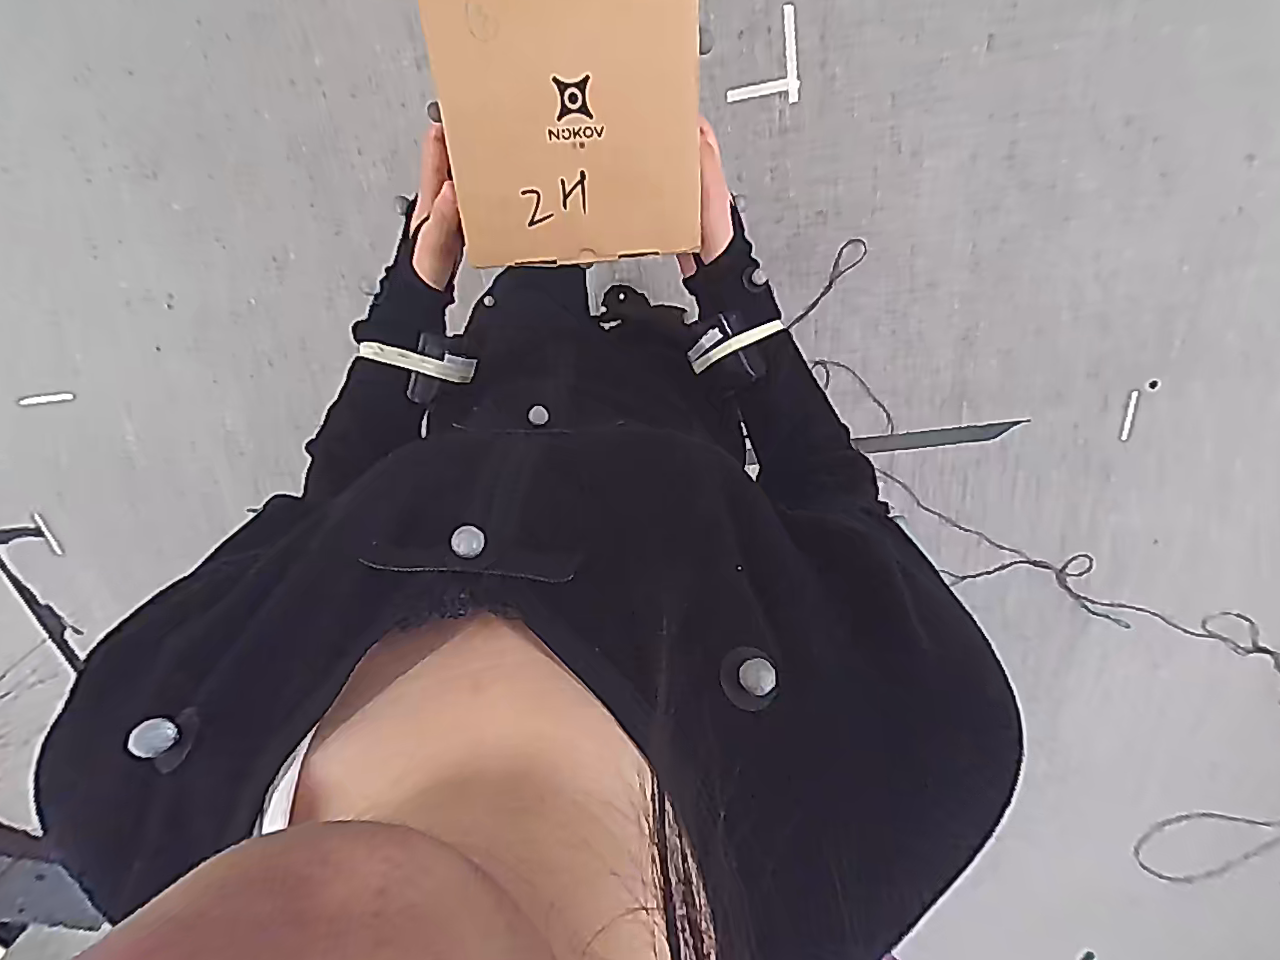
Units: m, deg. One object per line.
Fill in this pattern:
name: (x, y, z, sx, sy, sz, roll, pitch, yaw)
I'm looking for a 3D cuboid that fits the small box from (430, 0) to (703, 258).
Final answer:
small box: (-0.049, -0.273, 0.416, 0.168, 0.176, 0.179, -5, 117, -4)
